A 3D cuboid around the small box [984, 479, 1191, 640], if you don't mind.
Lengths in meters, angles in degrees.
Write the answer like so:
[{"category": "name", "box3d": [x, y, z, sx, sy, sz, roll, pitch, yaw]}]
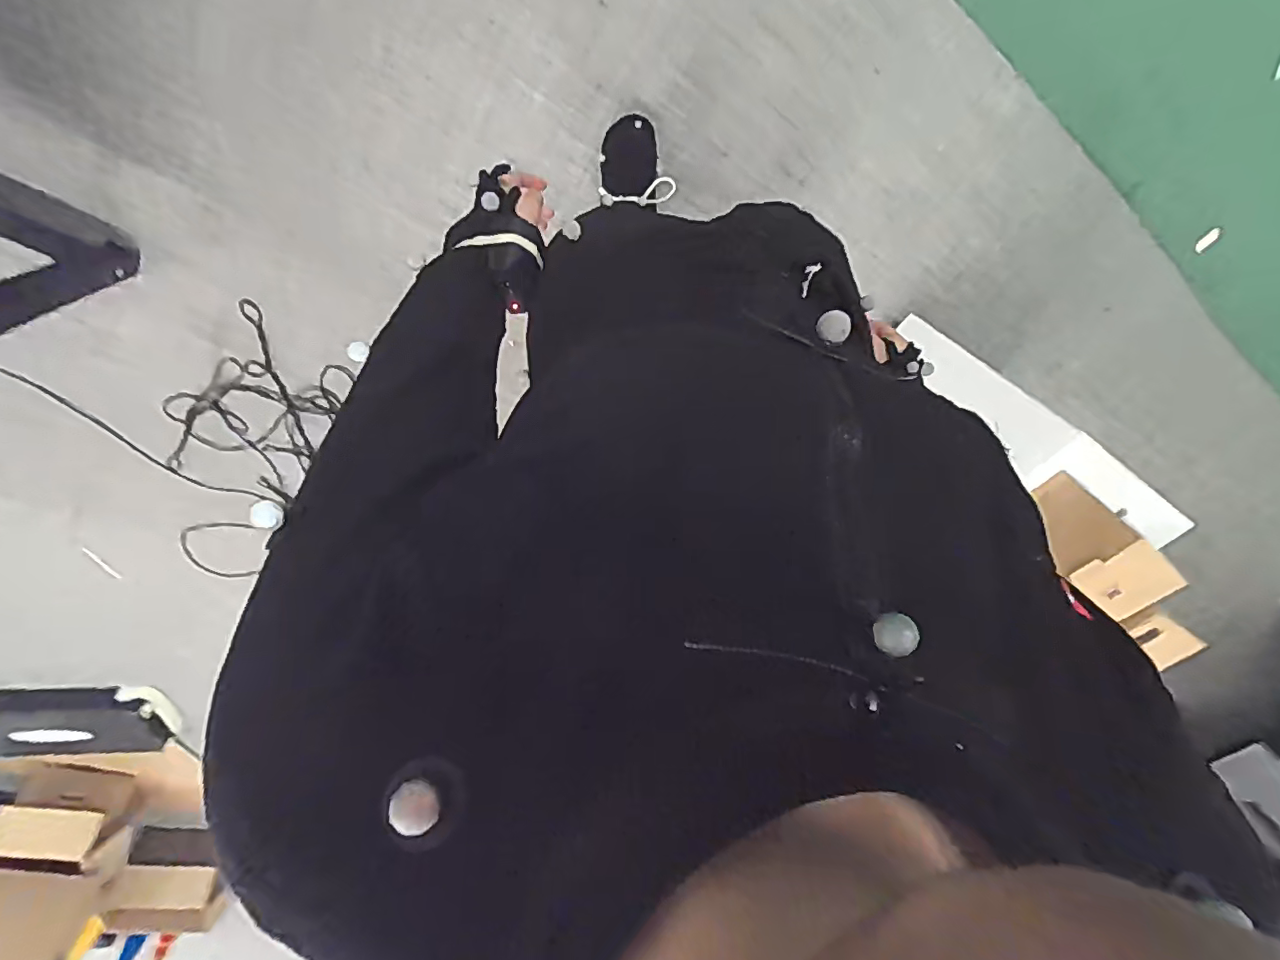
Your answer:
[{"category": "small box", "box3d": [0.713, 0.124, 0.881, 0.179, 0.176, 0.168, 30, 119, -26]}]
